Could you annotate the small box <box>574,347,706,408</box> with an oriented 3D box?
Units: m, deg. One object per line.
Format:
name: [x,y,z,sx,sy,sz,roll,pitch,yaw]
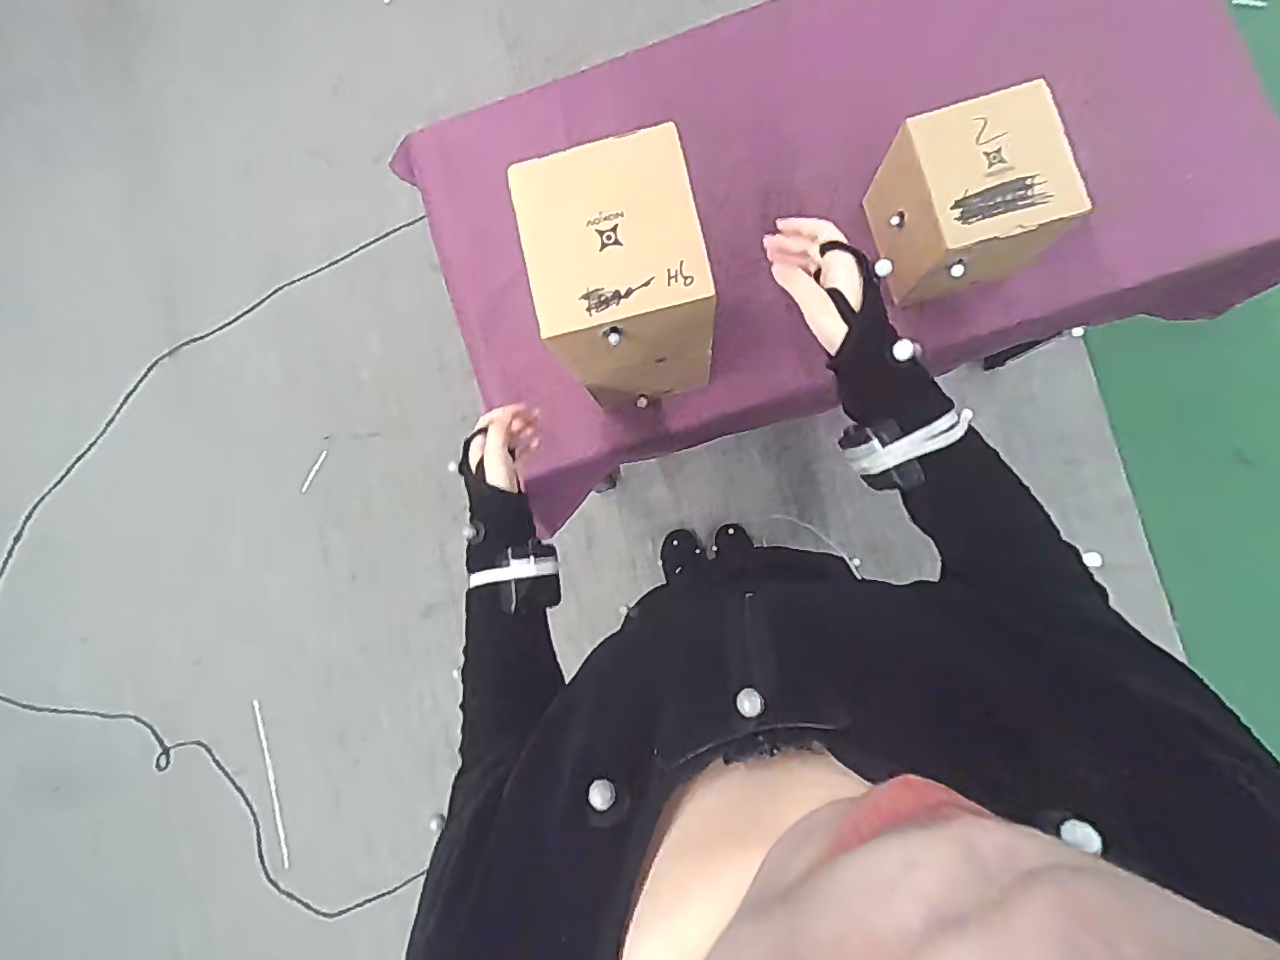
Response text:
small box: [-0.008,-0.214,0.744,0.168,0.176,0.179,-12,85,5]

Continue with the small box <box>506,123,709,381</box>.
small box: [-0.025,-0.226,0.580,0.168,0.176,0.179,-13,83,6]
